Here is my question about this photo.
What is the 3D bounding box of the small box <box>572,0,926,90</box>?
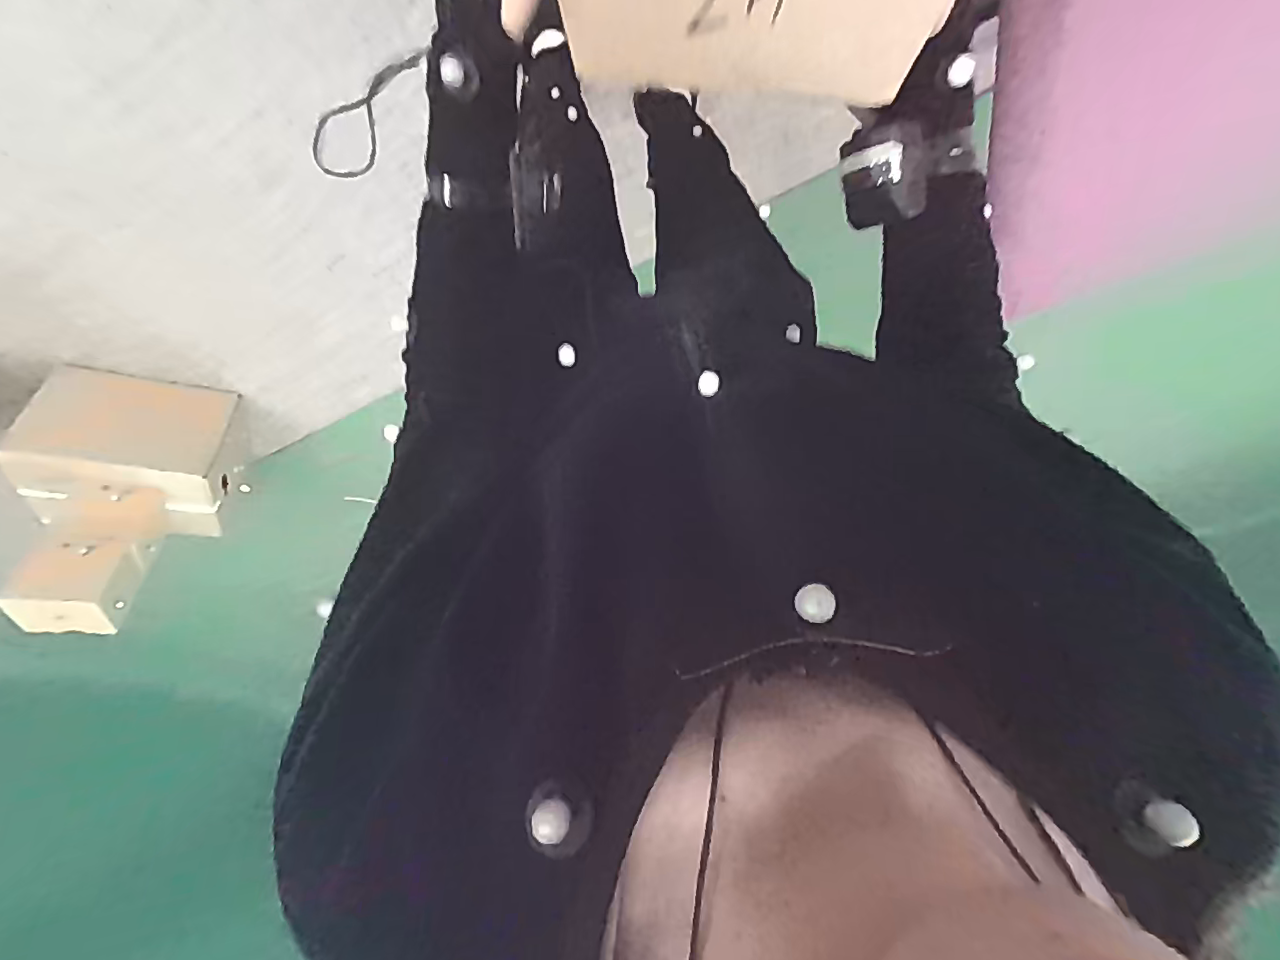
[{"bbox_3d":[0.046,-0.309,0.227,0.168,0.176,0.179,-6,154,-13],"label":"small box"}]

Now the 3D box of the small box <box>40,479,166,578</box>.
[{"bbox_3d":[-1.334,0.123,1.359,0.168,0.176,0.179,12,138,-26],"label":"small box"}]

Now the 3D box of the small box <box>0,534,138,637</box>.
[{"bbox_3d":[-1.316,0.247,1.255,0.168,0.176,0.179,10,139,-24],"label":"small box"}]
